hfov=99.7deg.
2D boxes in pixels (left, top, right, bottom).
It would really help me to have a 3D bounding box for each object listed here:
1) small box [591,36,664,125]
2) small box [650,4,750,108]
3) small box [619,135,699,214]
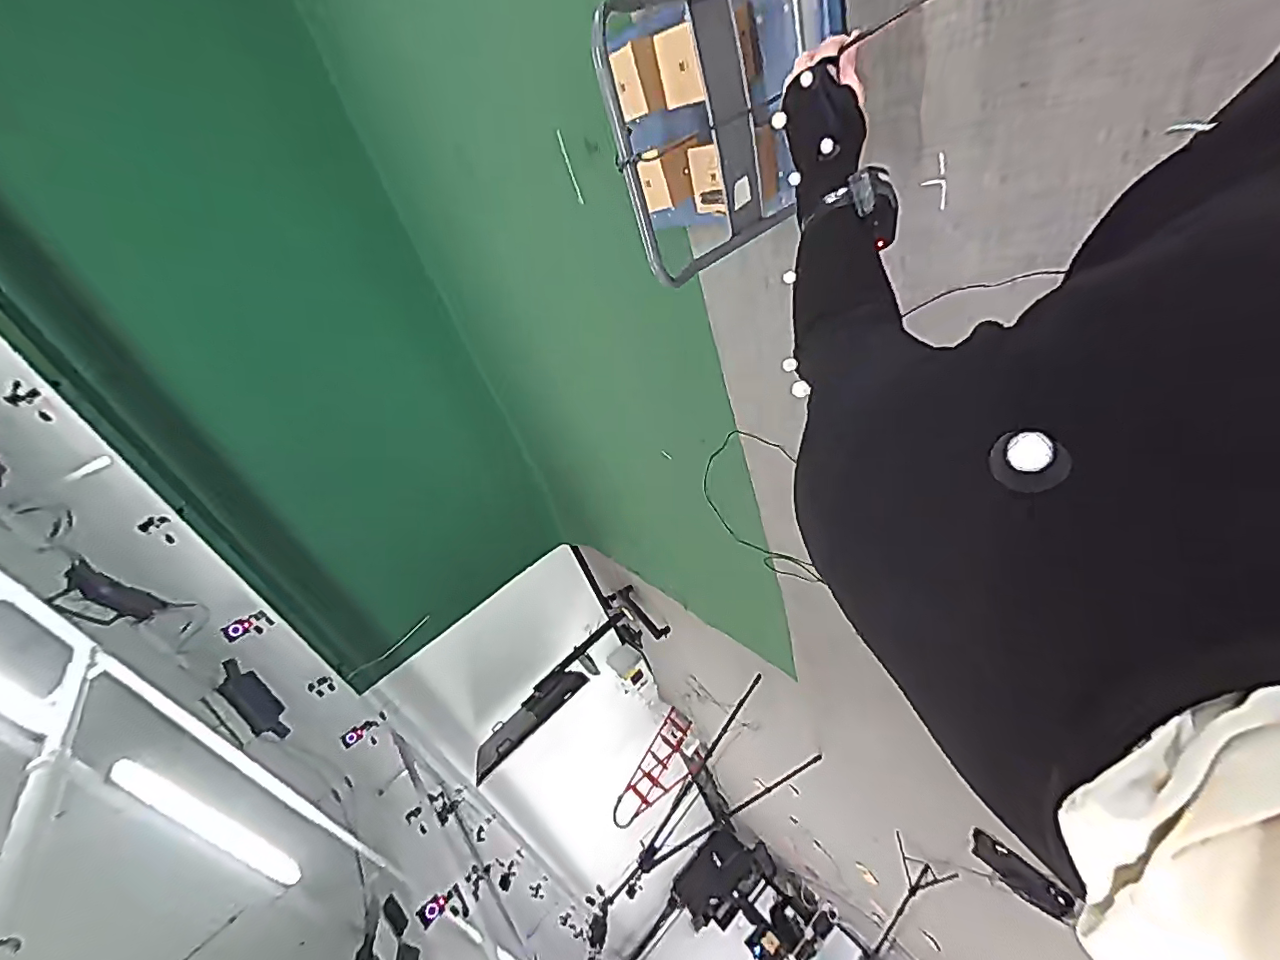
[{"bbox_3d":[-0.009,-1.177,1.589,0.179,0.176,0.168,21,141,47],"label":"small box"},{"bbox_3d":[0.159,-1.101,1.409,0.179,0.176,0.168,24,143,45],"label":"small box"},{"bbox_3d":[0.069,-0.975,1.726,0.179,0.176,0.168,20,139,49],"label":"small box"}]
